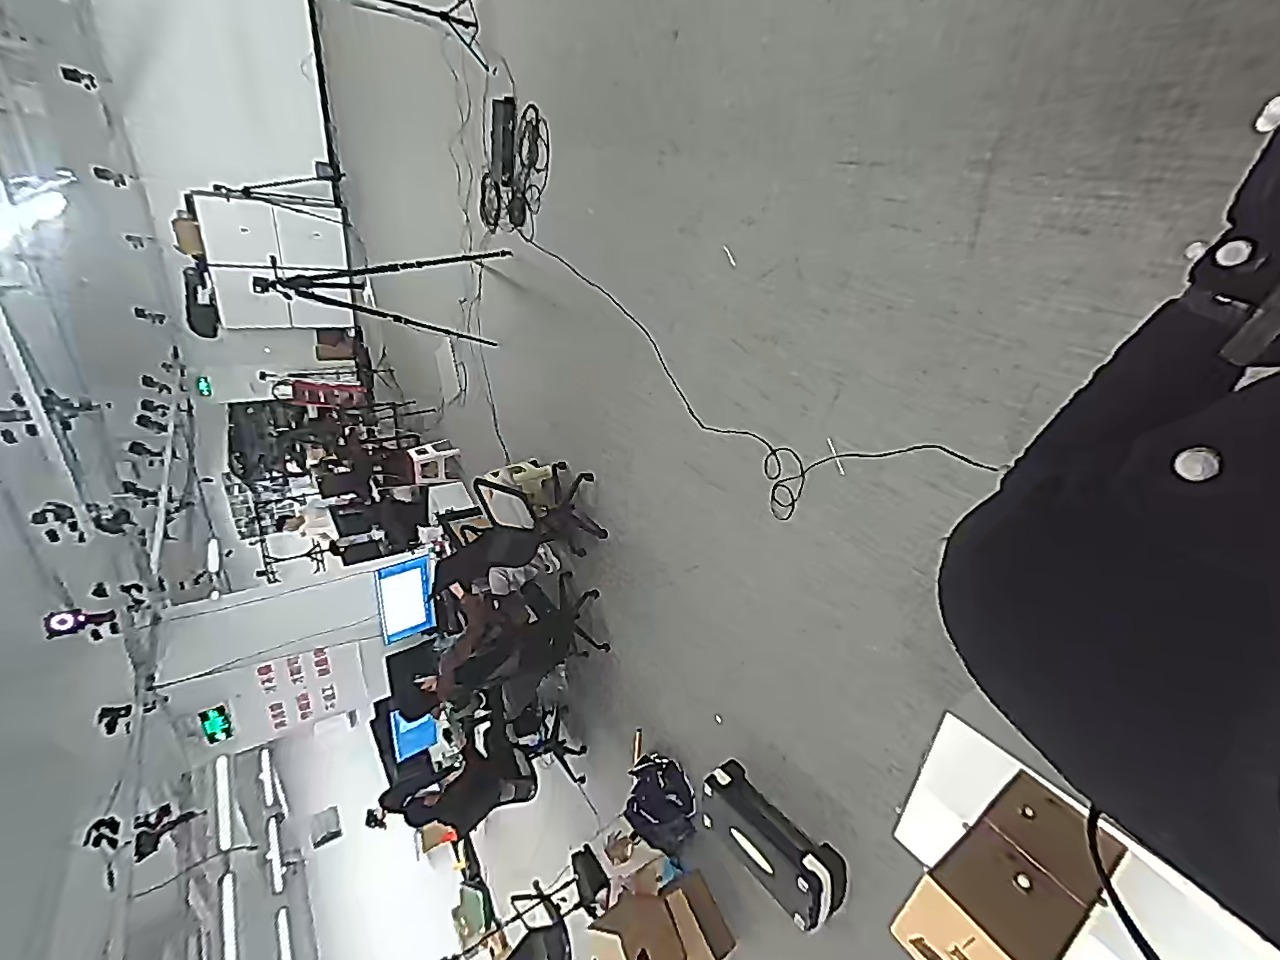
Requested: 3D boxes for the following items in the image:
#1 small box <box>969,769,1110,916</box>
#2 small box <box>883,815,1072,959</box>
[{"bbox_3d":[0.657,0.644,0.928,0.168,0.176,0.179,37,132,46],"label":"small box"},{"bbox_3d":[0.522,0.676,0.841,0.168,0.176,0.179,38,130,45],"label":"small box"}]
